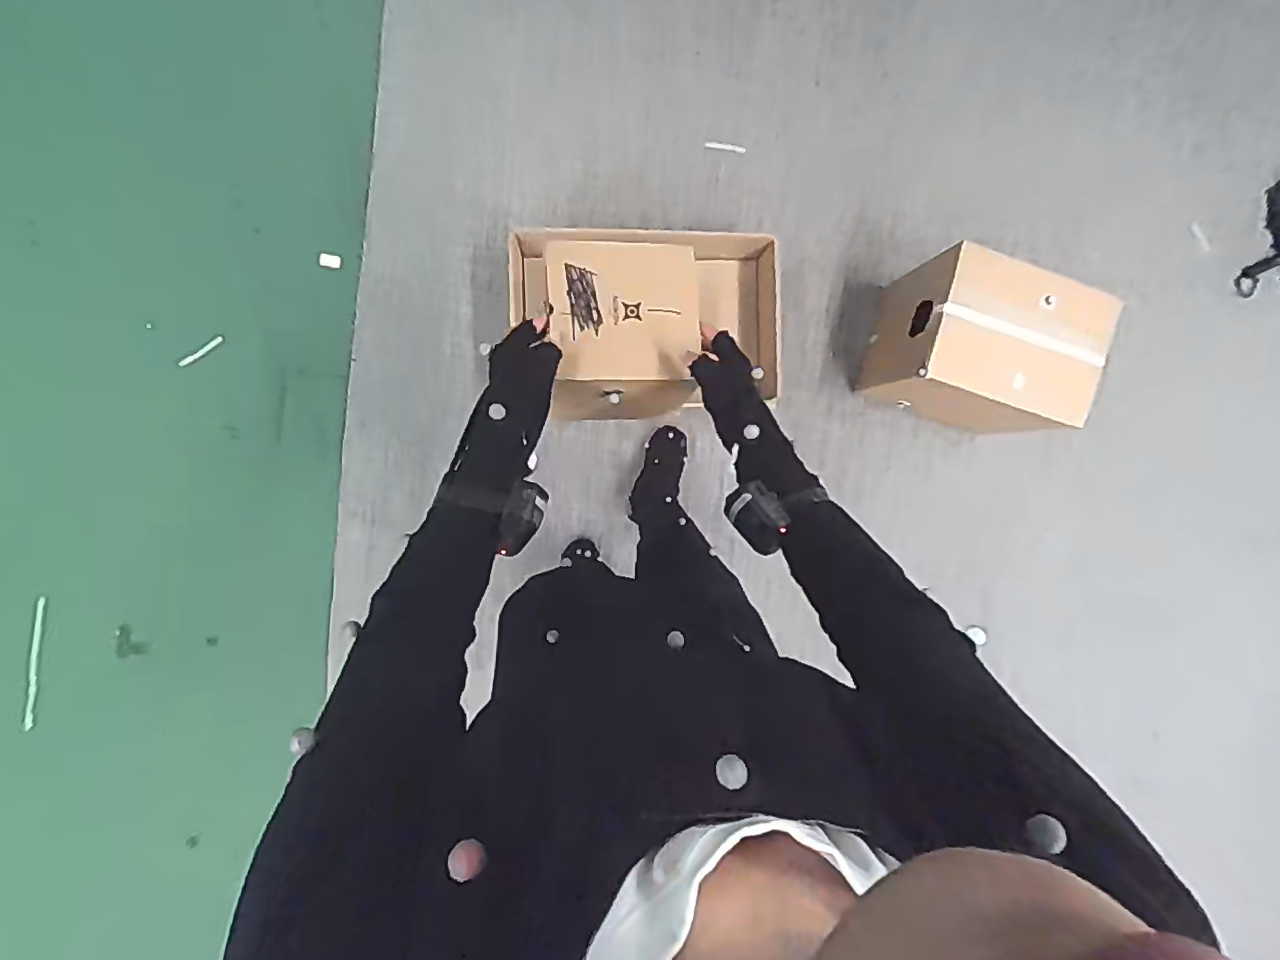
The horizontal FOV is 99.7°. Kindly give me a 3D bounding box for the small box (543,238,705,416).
[{"bbox_3d":[-0.030,-0.181,0.683,0.179,0.176,0.168,-3,82,-11],"label":"small box"}]
